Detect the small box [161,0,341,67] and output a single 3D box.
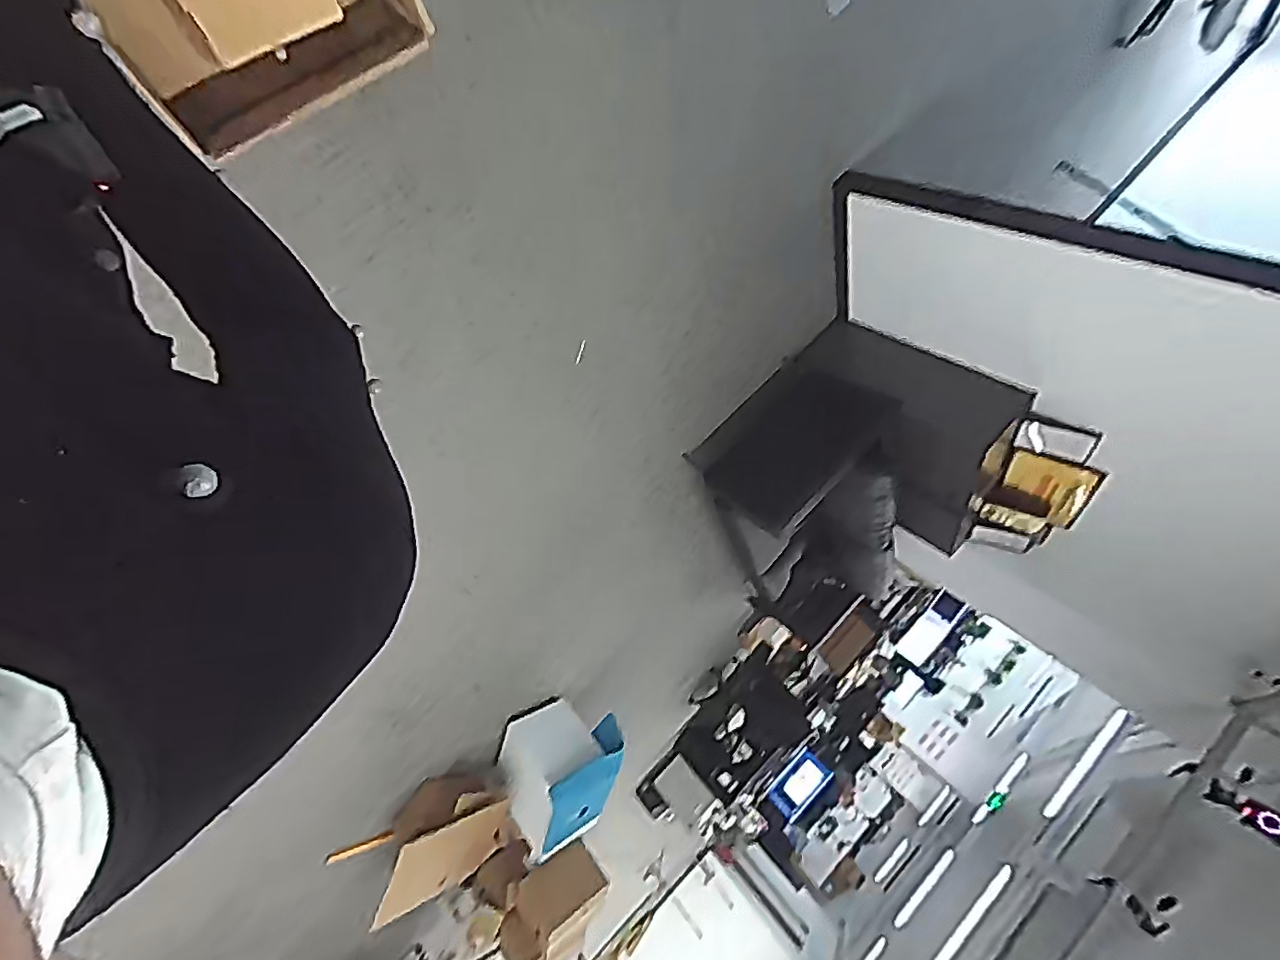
[{"bbox_3d":[-0.540,-0.674,0.702,0.179,0.176,0.168,-39,144,-15],"label":"small box"}]
